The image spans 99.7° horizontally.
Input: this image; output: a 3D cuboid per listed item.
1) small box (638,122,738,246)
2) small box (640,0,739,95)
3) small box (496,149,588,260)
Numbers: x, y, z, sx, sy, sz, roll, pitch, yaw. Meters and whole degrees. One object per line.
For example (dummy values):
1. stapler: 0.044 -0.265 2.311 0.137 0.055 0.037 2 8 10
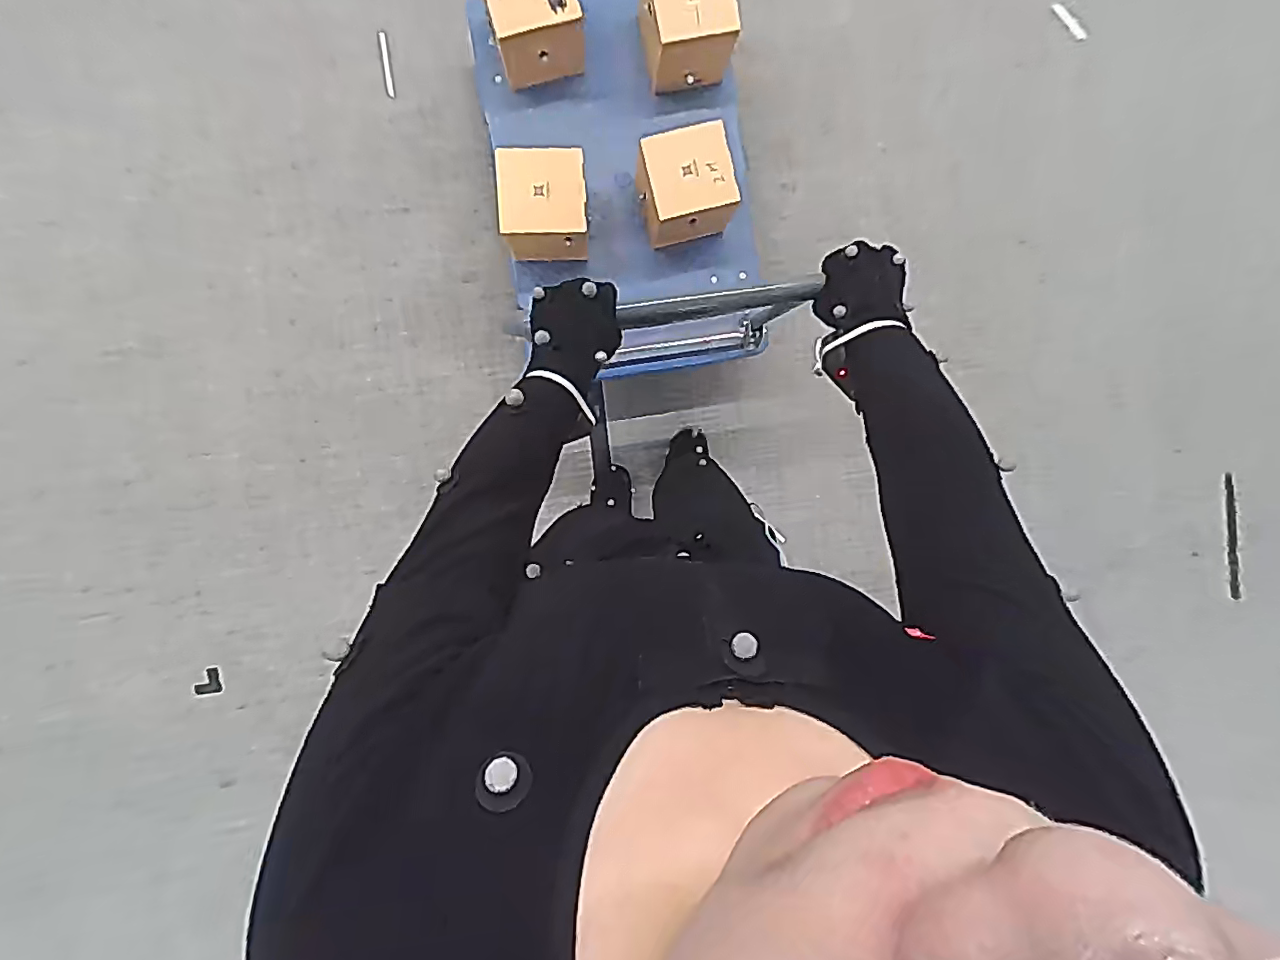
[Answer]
1. small box: 0.096 -0.635 1.182 0.179 0.176 0.168 -15 96 -2
2. small box: 0.097 -0.974 1.154 0.168 0.176 0.179 -12 96 -3
3. small box: -0.203 -0.585 1.167 0.179 0.176 0.168 -3 94 -5
